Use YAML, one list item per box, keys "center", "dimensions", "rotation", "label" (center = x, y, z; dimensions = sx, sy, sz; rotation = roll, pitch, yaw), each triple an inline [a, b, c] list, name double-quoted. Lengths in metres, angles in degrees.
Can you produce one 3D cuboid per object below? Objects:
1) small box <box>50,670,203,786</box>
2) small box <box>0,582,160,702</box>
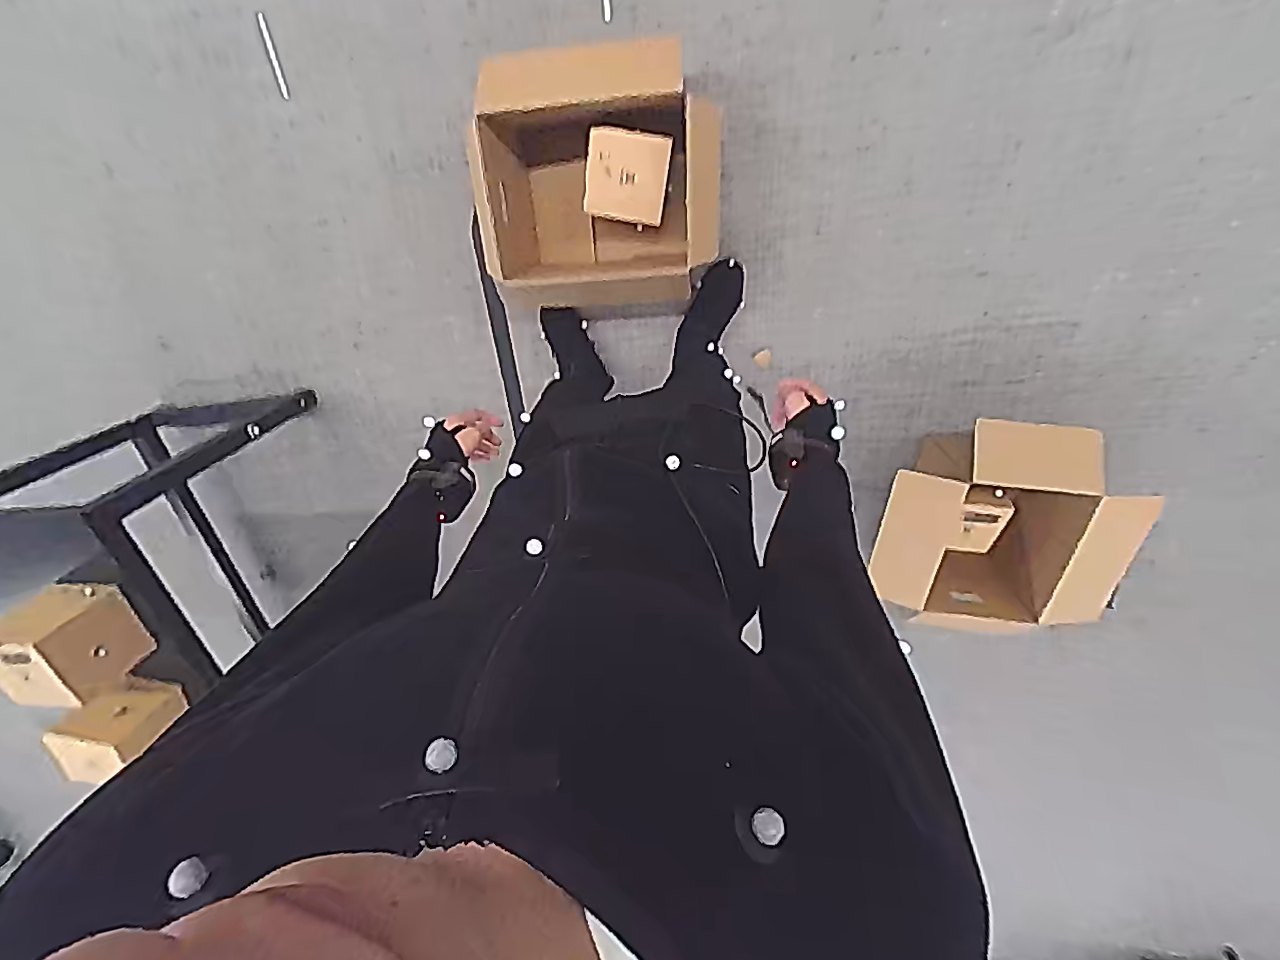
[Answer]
- center: [-1.178, 0.570, 1.259]
  dimensions: [0.168, 0.176, 0.179]
  rotation: [10, 121, 2]
  label: "small box"
- center: [-1.170, 0.329, 1.117]
  dimensions: [0.168, 0.176, 0.179]
  rotation: [0, 121, 8]
  label: "small box"
